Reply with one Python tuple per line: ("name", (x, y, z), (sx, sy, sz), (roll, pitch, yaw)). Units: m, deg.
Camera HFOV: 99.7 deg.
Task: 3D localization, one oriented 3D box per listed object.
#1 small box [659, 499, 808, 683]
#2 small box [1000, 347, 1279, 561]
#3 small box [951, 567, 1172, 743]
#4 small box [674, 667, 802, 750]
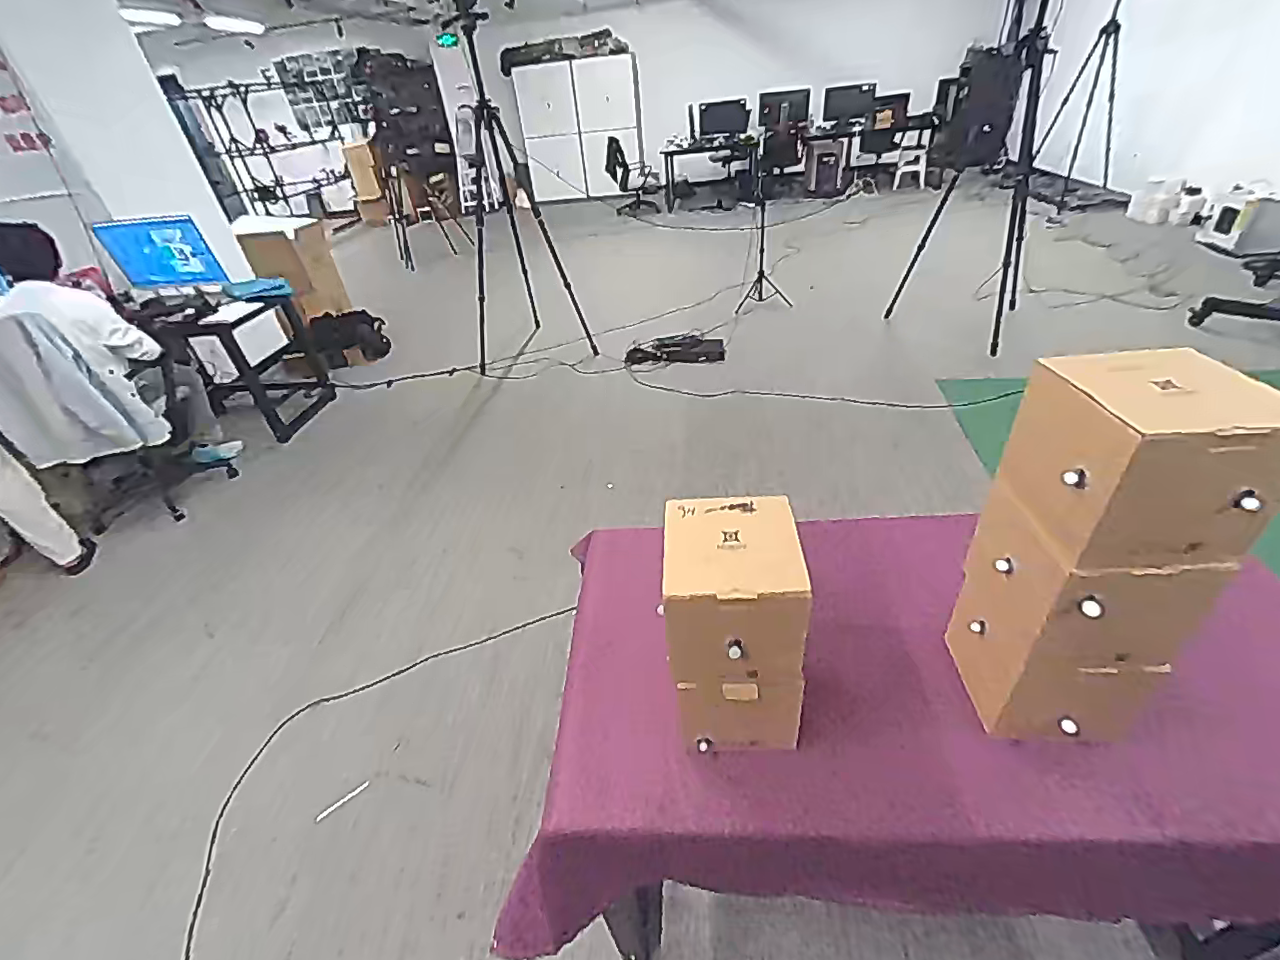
("small box", (0.117, 0.146, 0.705), (0.168, 0.176, 0.179), (-2, 37, 6))
("small box", (0.532, -0.025, 0.582), (0.168, 0.176, 0.179), (-3, 35, 5))
("small box", (0.569, 0.243, 0.766), (0.168, 0.176, 0.179), (-3, 36, 8))
("small box", (0.138, 0.278, 0.800), (0.168, 0.176, 0.179), (-4, 35, 5))
